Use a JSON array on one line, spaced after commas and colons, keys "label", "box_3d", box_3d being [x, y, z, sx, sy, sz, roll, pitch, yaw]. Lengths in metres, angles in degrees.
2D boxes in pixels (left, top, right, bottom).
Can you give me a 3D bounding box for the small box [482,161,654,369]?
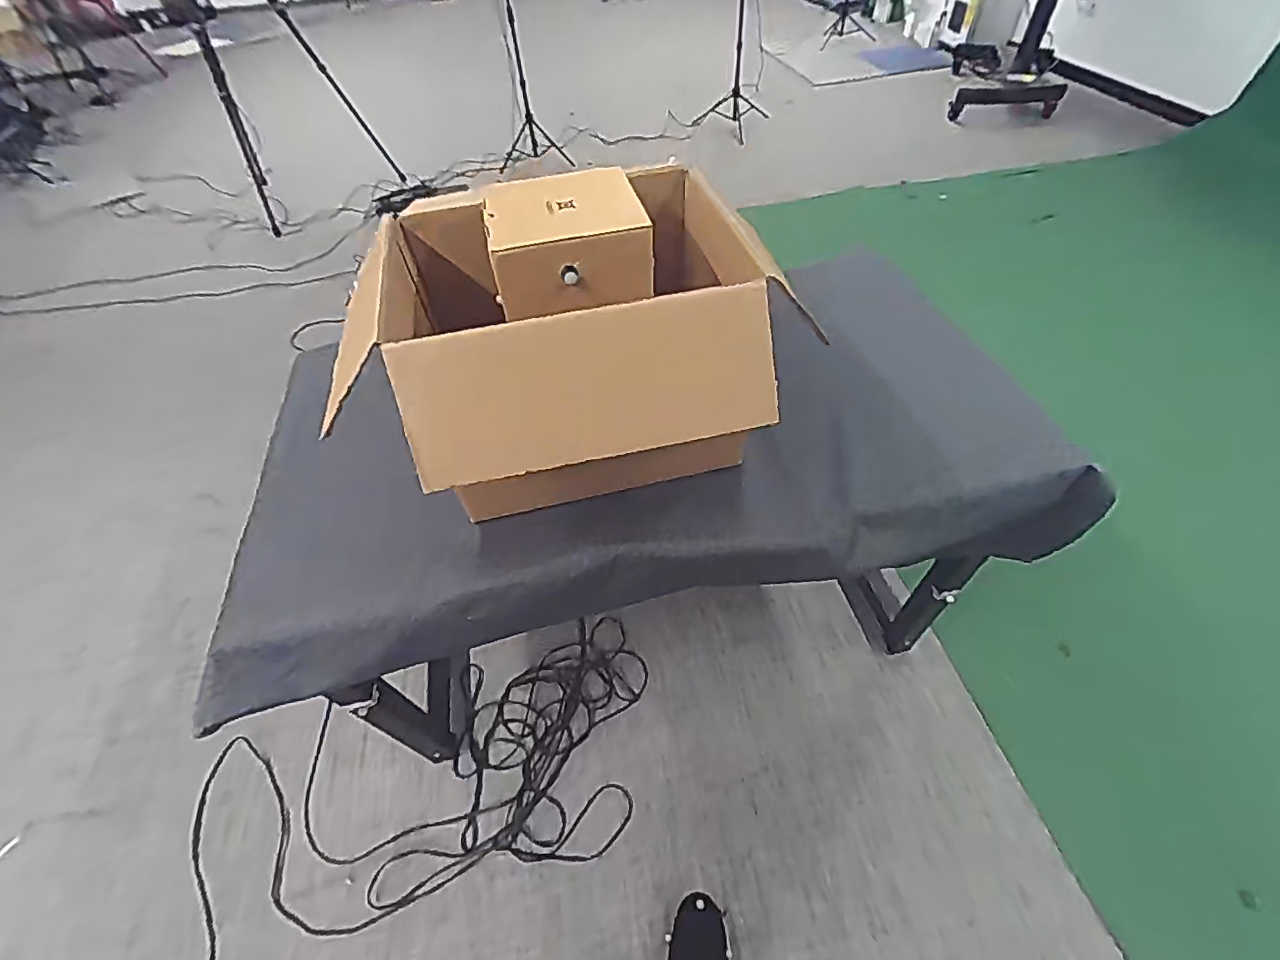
[{"label": "small box", "box_3d": [-0.084, -0.263, 0.671, 0.179, 0.176, 0.168, -12, 52, -6]}]
